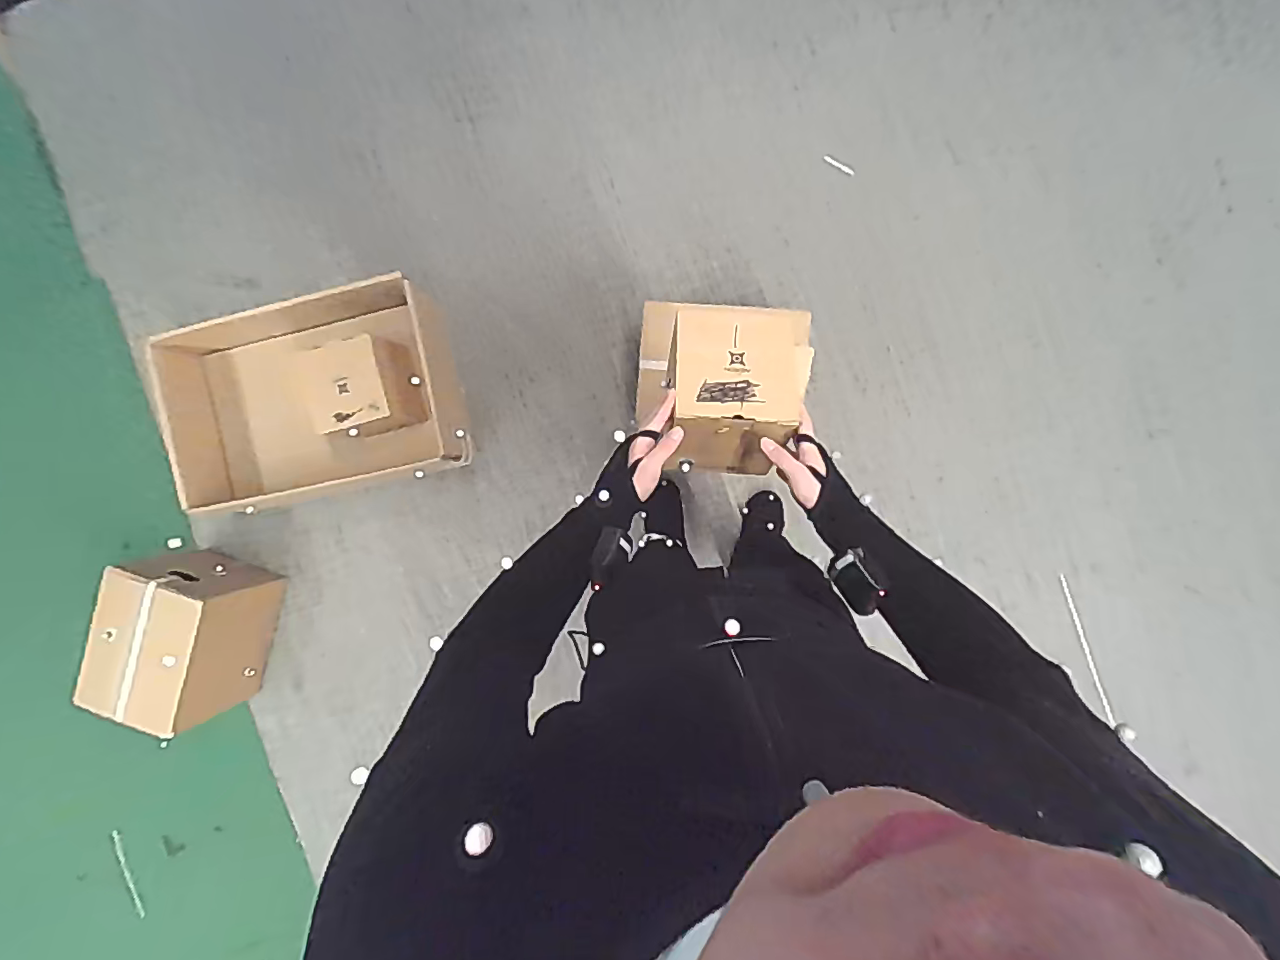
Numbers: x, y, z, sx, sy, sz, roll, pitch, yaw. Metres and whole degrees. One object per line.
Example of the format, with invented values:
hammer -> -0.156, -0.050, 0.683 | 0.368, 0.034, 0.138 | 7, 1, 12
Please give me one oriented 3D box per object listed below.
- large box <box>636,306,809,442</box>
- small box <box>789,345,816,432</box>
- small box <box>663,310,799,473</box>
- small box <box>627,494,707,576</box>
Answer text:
large box -> 0.214, -0.266, 1.454 | 0.408, 0.320, 0.320 | 5, 92, 6
small box -> 0.274, -0.207, 1.204 | 0.168, 0.176, 0.179 | 12, 95, 5
small box -> 0.125, -0.121, 0.796 | 0.168, 0.176, 0.179 | 4, 66, -2
small box -> 0.083, 0.156, 1.584 | 0.168, 0.176, 0.179 | 29, 91, 9
